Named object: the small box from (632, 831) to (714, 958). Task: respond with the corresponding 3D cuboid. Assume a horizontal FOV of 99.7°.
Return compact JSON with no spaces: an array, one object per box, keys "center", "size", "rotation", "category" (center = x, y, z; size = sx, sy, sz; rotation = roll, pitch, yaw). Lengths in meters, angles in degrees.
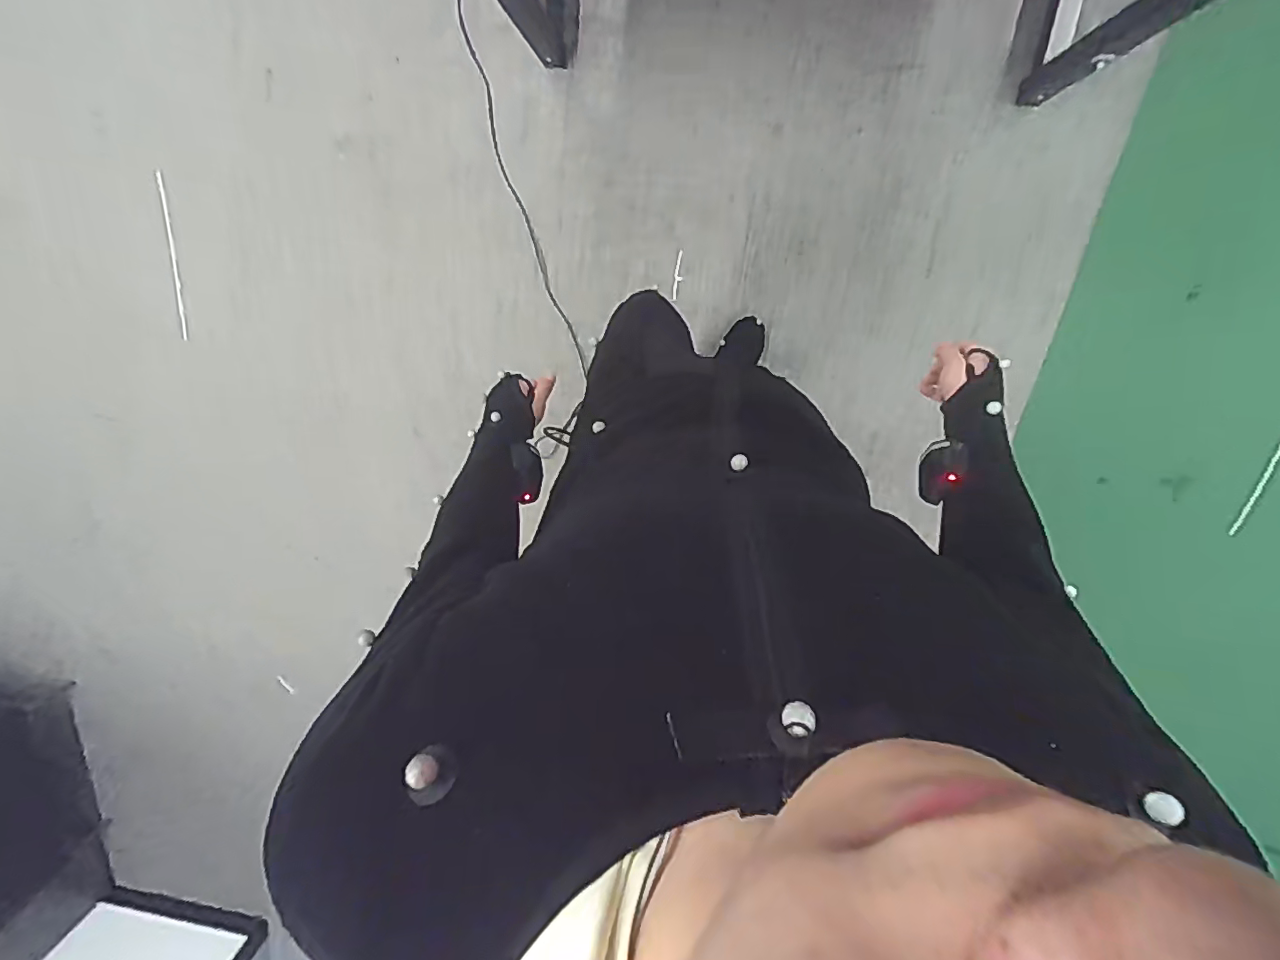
[{"center":[0.091,1.063,1.396],"size":[0.168,0.176,0.179],"rotation":[18,110,2],"category":"small box"}]
